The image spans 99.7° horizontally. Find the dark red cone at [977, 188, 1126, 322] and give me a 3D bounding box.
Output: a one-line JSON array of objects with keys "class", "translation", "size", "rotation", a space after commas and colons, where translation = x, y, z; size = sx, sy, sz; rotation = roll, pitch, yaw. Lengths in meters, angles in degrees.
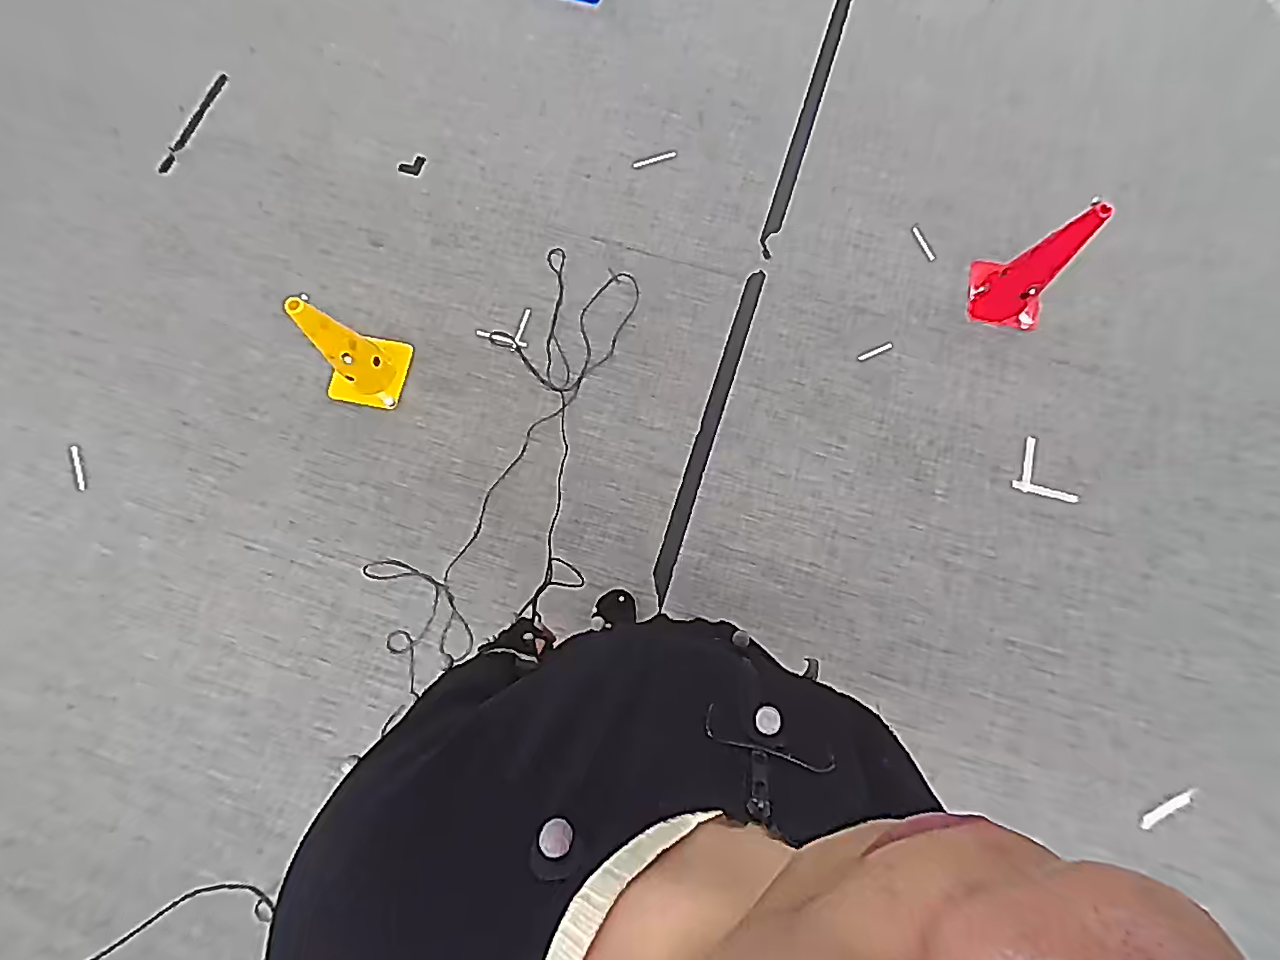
[{"class": "dark red cone", "translation": [1.058, -0.587, 1.379], "size": [0.201, 0.394, 0.202], "rotation": [9, 77, 4]}]

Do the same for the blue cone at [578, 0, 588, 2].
[{"class": "blue cone", "translation": [-0.229, -1.749, 1.682], "size": [0.192, 0.380, 0.193], "rotation": [17, 78, 5]}]
